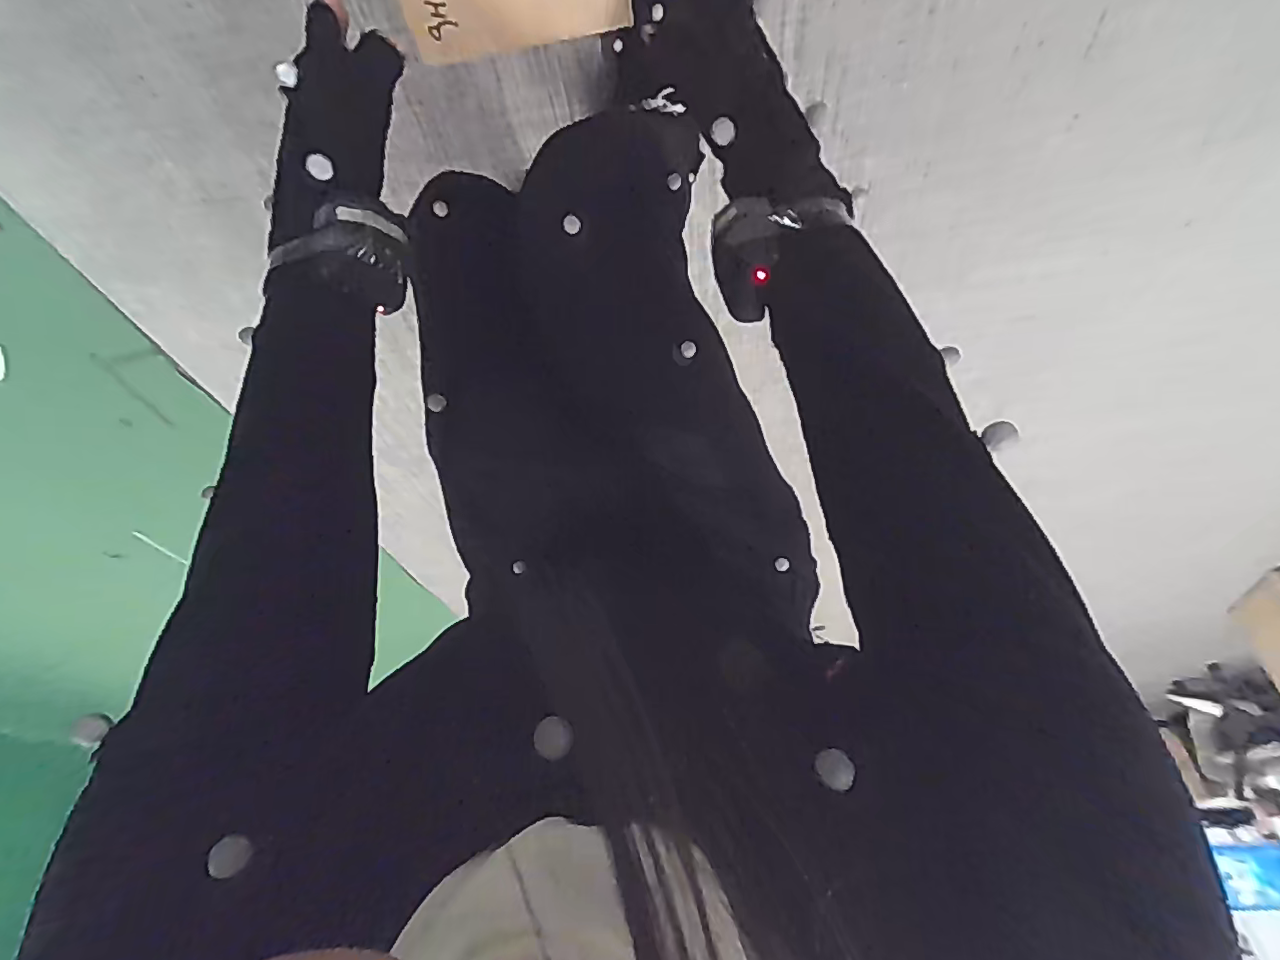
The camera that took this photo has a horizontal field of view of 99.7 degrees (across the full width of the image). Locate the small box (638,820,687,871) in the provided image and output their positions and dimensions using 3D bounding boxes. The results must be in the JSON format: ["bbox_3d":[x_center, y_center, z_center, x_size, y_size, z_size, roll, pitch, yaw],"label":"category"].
[{"bbox_3d":[0.097,1.532,2.263,0.179,0.176,0.168,-8,144,12],"label":"small box"}]
